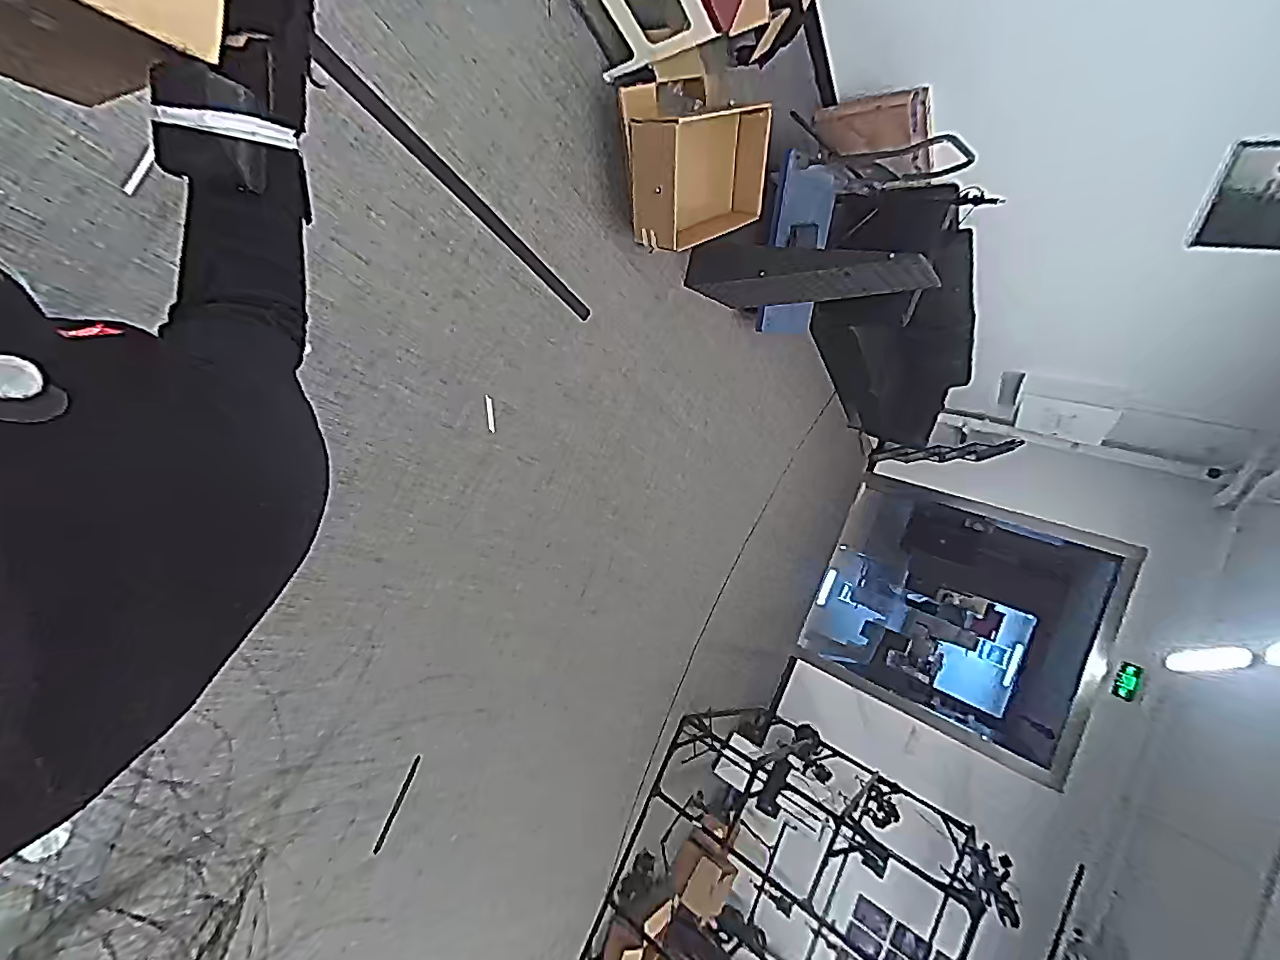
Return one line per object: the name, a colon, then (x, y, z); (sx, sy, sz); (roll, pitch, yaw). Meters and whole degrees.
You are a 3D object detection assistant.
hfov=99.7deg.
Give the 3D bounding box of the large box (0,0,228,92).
large box: (-0.466, -0.447, 0.229); (0.408, 0.320, 0.320); (-4, 111, -56)
